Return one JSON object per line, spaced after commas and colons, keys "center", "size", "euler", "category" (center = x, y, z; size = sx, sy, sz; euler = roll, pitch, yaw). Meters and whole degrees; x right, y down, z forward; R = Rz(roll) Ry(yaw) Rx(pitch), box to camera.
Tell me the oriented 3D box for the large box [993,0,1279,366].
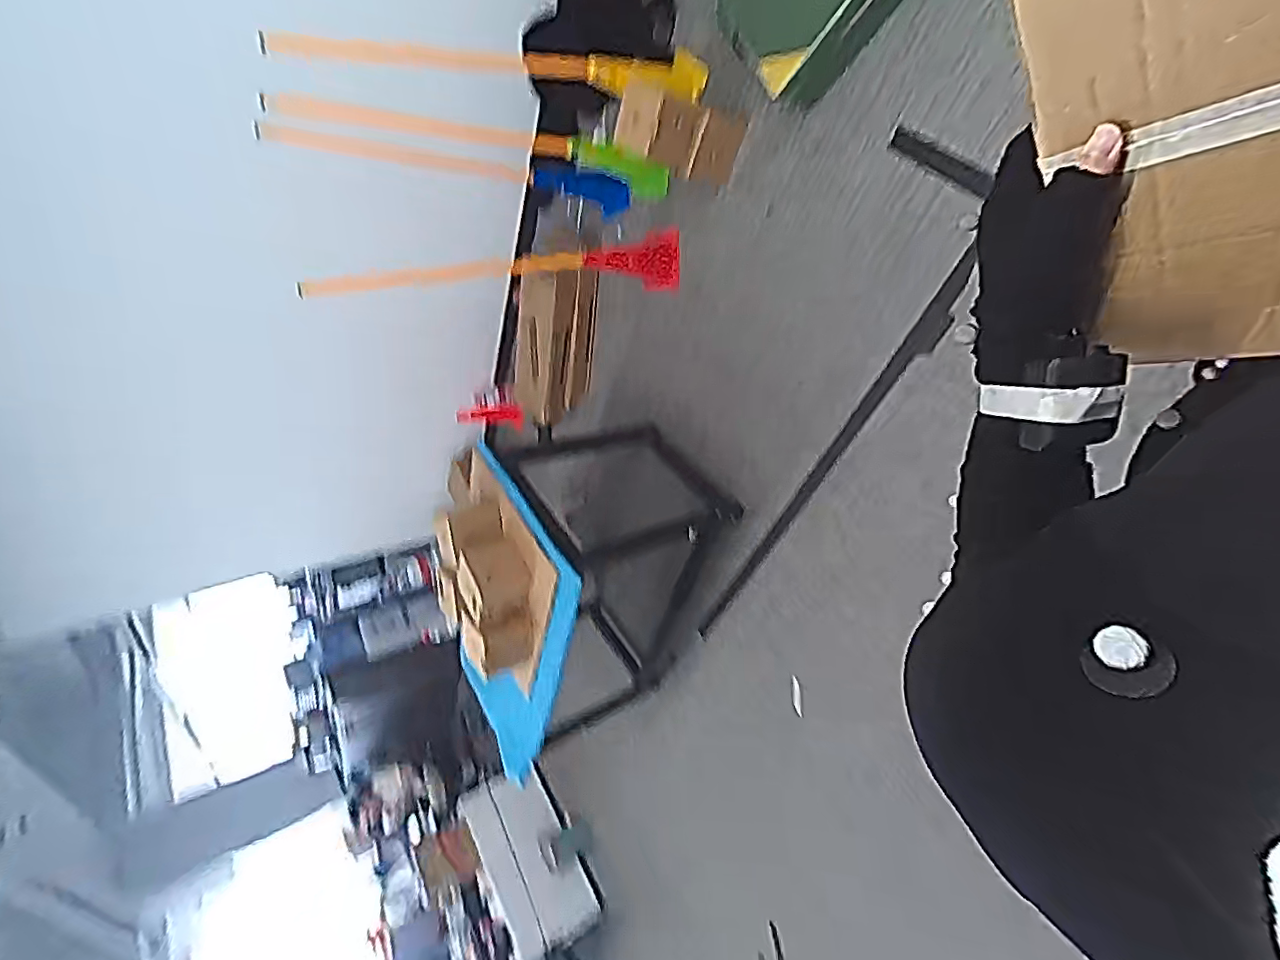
{"center": [0.450, -0.288, 0.229], "size": [0.408, 0.320, 0.320], "euler": [6, 145, 53], "category": "large box"}
